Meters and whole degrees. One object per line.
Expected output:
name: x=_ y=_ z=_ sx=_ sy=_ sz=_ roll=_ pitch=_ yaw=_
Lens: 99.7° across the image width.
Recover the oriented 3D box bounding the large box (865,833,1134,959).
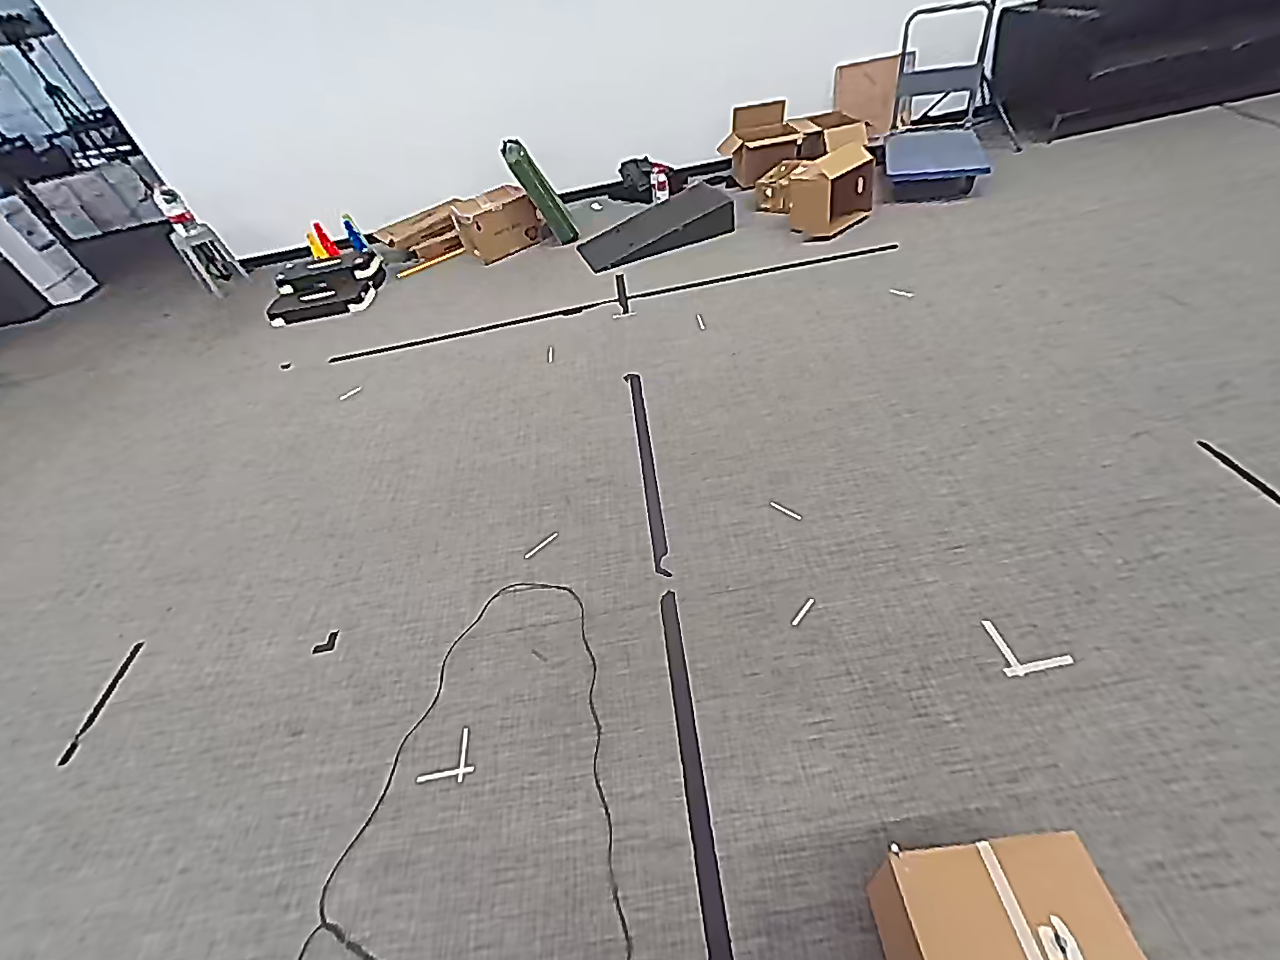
large box: x=0.613 y=0.871 z=0.889 sx=0.320 sy=0.320 sz=0.408 roll=-8 pitch=43 yaw=2
